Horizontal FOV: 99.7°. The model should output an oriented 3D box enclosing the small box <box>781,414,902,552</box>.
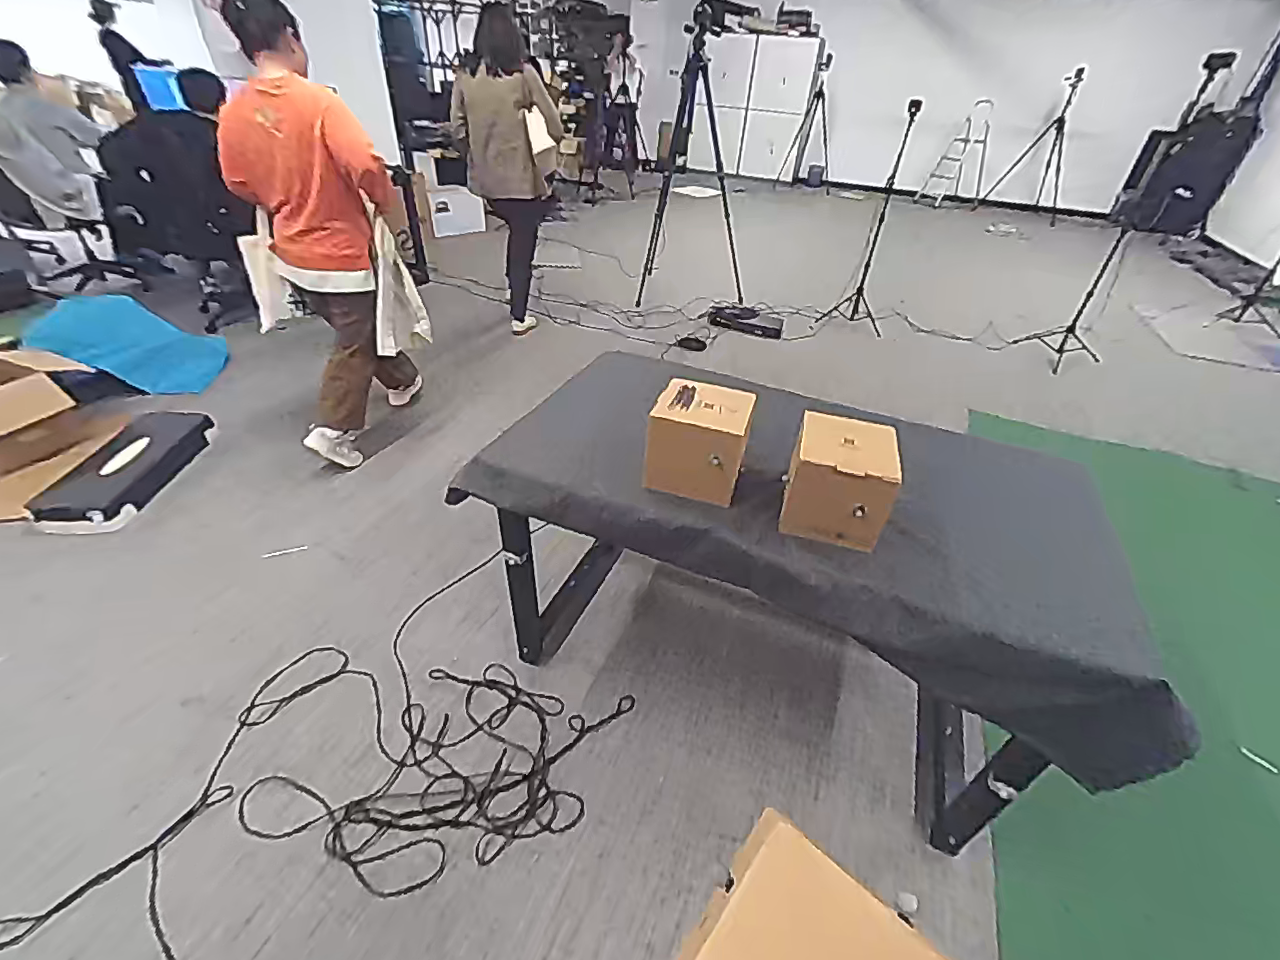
[{"bbox_3d":[0.361,0.005,0.988,0.168,0.176,0.179,13,37,11],"label":"small box"}]
